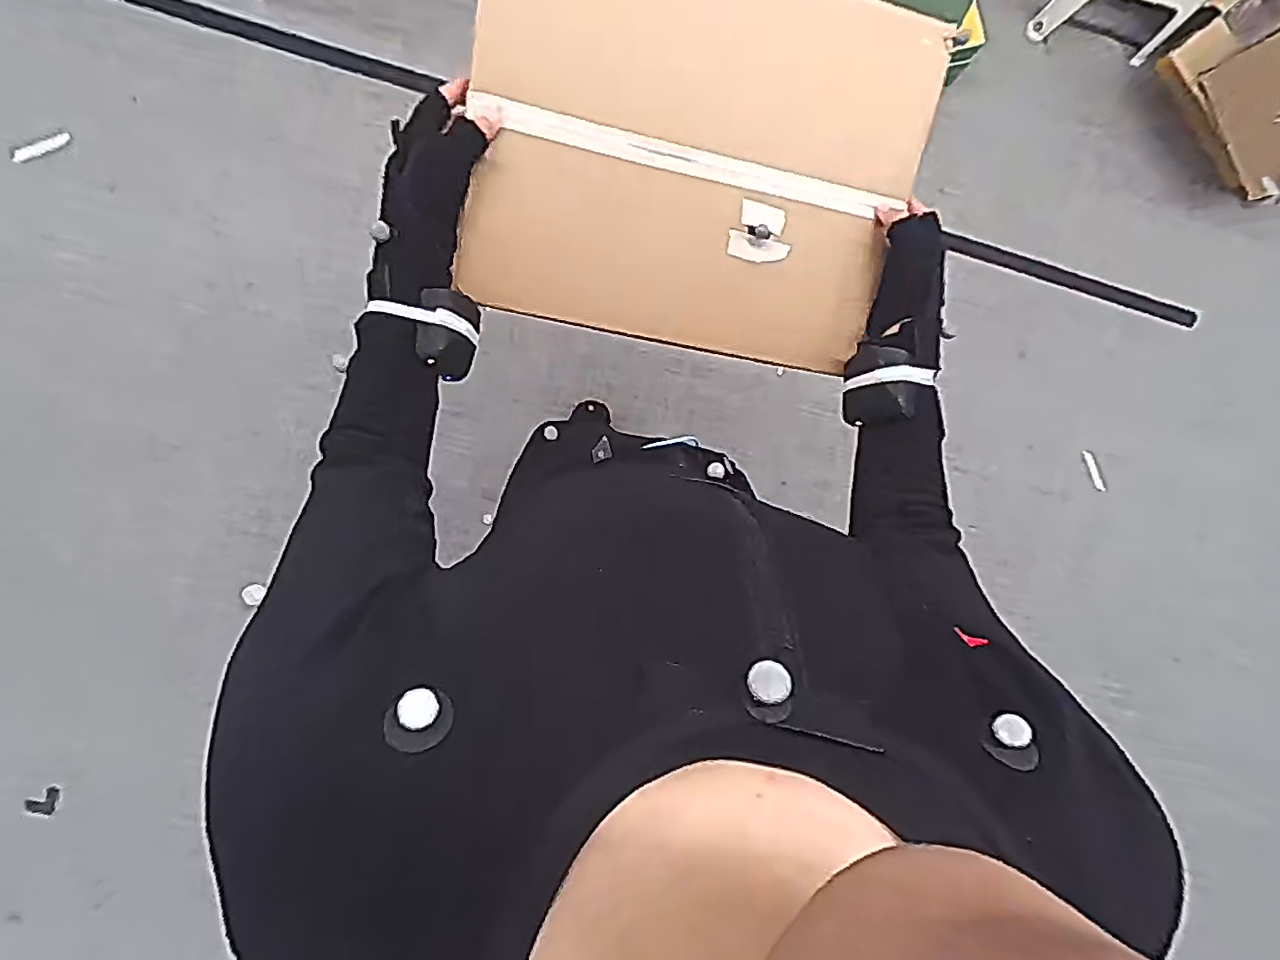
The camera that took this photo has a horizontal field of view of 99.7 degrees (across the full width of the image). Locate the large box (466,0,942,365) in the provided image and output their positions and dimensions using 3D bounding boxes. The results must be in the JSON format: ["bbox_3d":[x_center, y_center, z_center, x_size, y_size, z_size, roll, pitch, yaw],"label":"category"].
[{"bbox_3d":[0.037,-0.335,0.640,0.408,0.320,0.320,9,106,-10],"label":"large box"}]
